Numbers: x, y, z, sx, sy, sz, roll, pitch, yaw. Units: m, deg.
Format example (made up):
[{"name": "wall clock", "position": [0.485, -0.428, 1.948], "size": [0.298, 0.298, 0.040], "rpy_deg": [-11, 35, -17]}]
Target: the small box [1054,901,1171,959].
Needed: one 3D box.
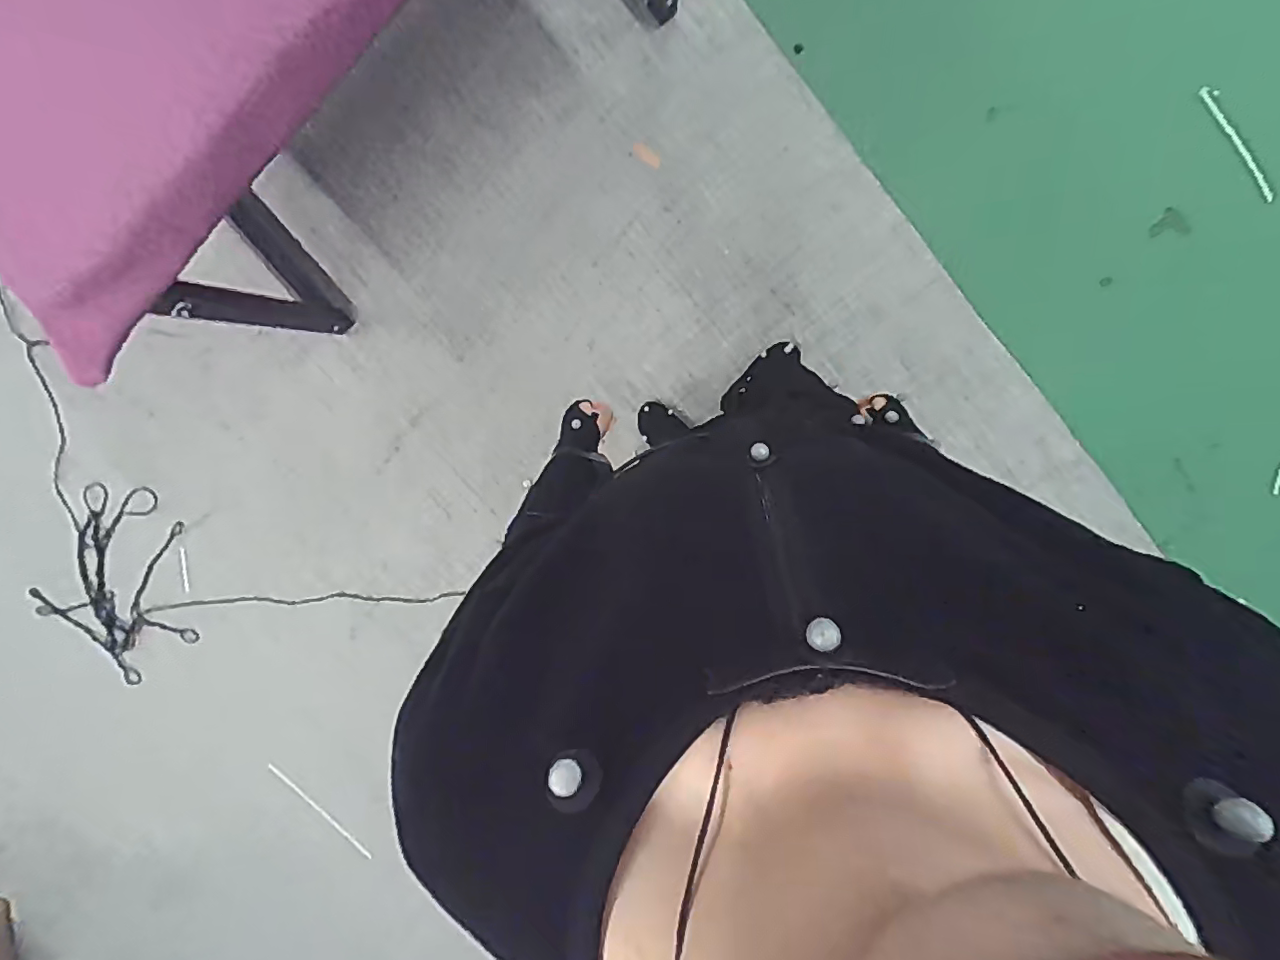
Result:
[{"name": "small box", "position": [1.037, 1.048, 1.133], "size": [0.168, 0.176, 0.179], "rpy_deg": [-42, 95, 10]}]
